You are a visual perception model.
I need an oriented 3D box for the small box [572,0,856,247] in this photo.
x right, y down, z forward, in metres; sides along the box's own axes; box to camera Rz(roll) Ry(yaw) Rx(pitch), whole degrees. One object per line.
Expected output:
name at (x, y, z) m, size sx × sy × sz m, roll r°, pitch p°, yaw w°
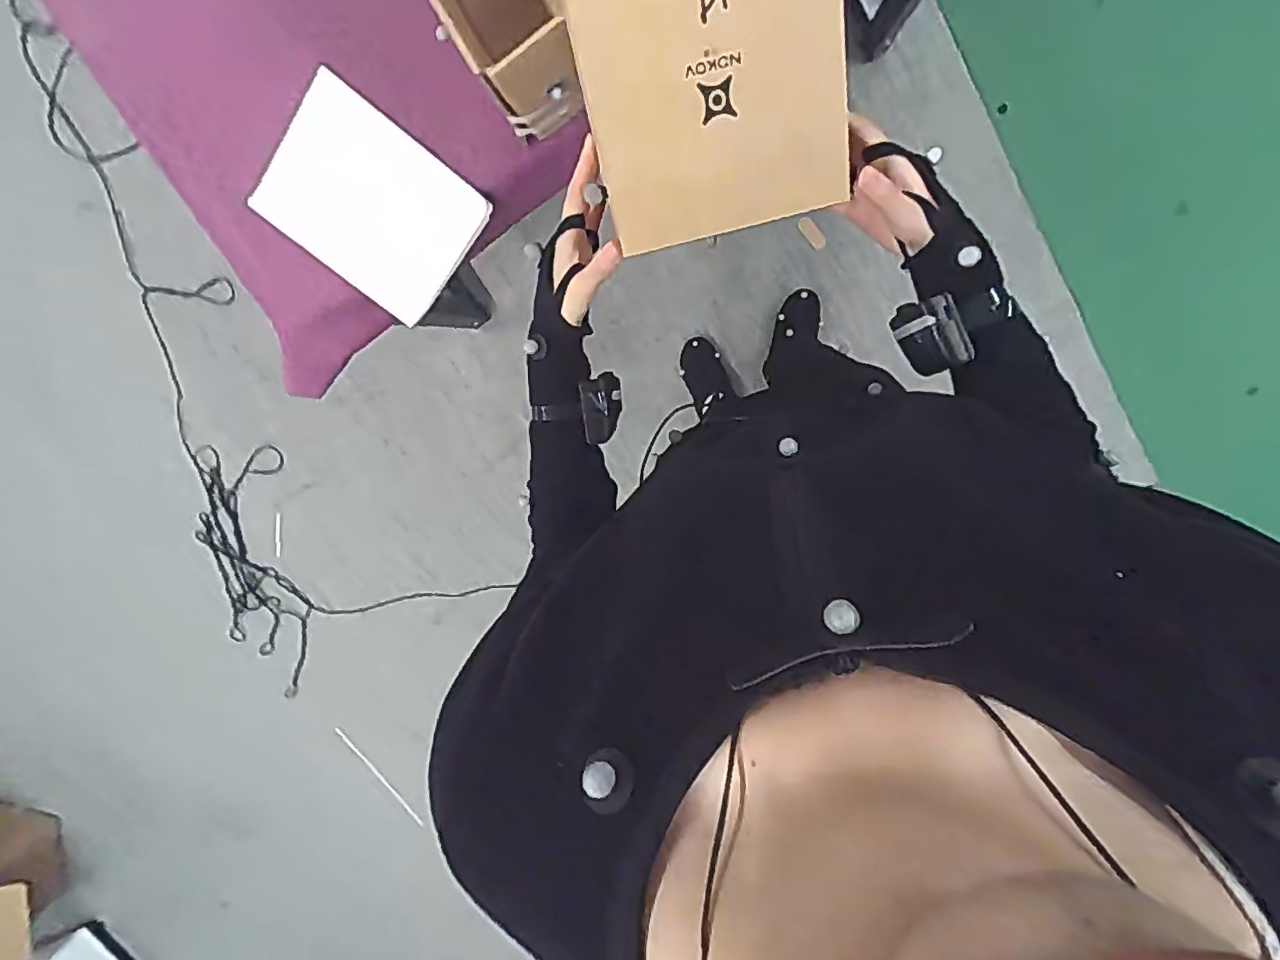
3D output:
small box at (0.048, -0.291, 0.406) m, size 0.168 × 0.176 × 0.179 m, roll -13°, pitch 118°, yaw 2°
